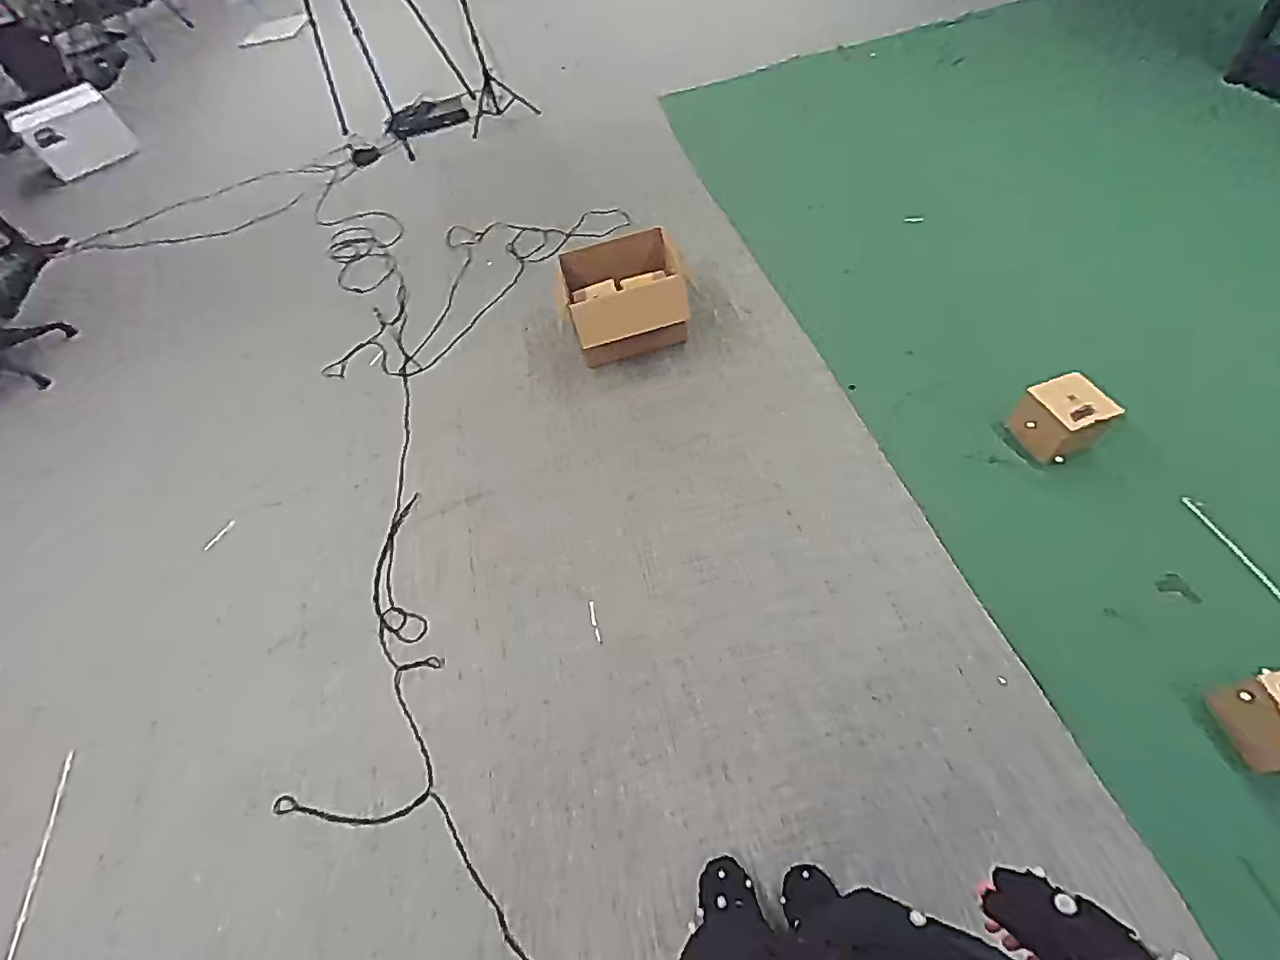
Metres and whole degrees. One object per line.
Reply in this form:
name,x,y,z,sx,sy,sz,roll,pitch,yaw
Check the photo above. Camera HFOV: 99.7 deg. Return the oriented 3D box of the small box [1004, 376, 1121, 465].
small box,1.220,-0.164,1.576,0.168,0.176,0.179,-19,54,-3
